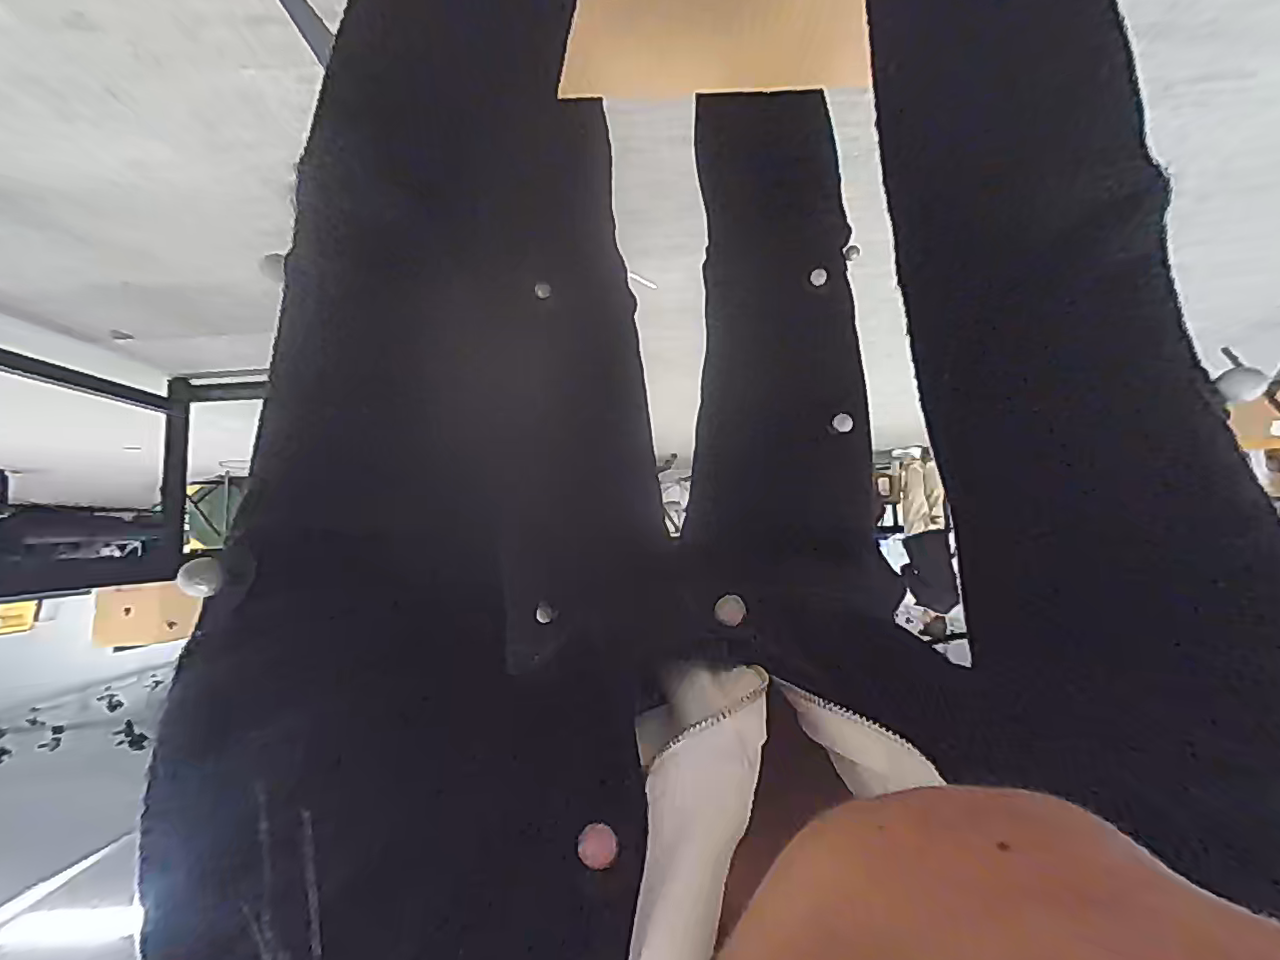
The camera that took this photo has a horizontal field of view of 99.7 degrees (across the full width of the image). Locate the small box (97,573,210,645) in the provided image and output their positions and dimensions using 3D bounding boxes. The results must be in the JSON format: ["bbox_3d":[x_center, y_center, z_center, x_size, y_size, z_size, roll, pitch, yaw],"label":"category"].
[{"bbox_3d":[-1.338,0.352,1.498,0.168,0.176,0.179,-2,174,-2],"label":"small box"}]
